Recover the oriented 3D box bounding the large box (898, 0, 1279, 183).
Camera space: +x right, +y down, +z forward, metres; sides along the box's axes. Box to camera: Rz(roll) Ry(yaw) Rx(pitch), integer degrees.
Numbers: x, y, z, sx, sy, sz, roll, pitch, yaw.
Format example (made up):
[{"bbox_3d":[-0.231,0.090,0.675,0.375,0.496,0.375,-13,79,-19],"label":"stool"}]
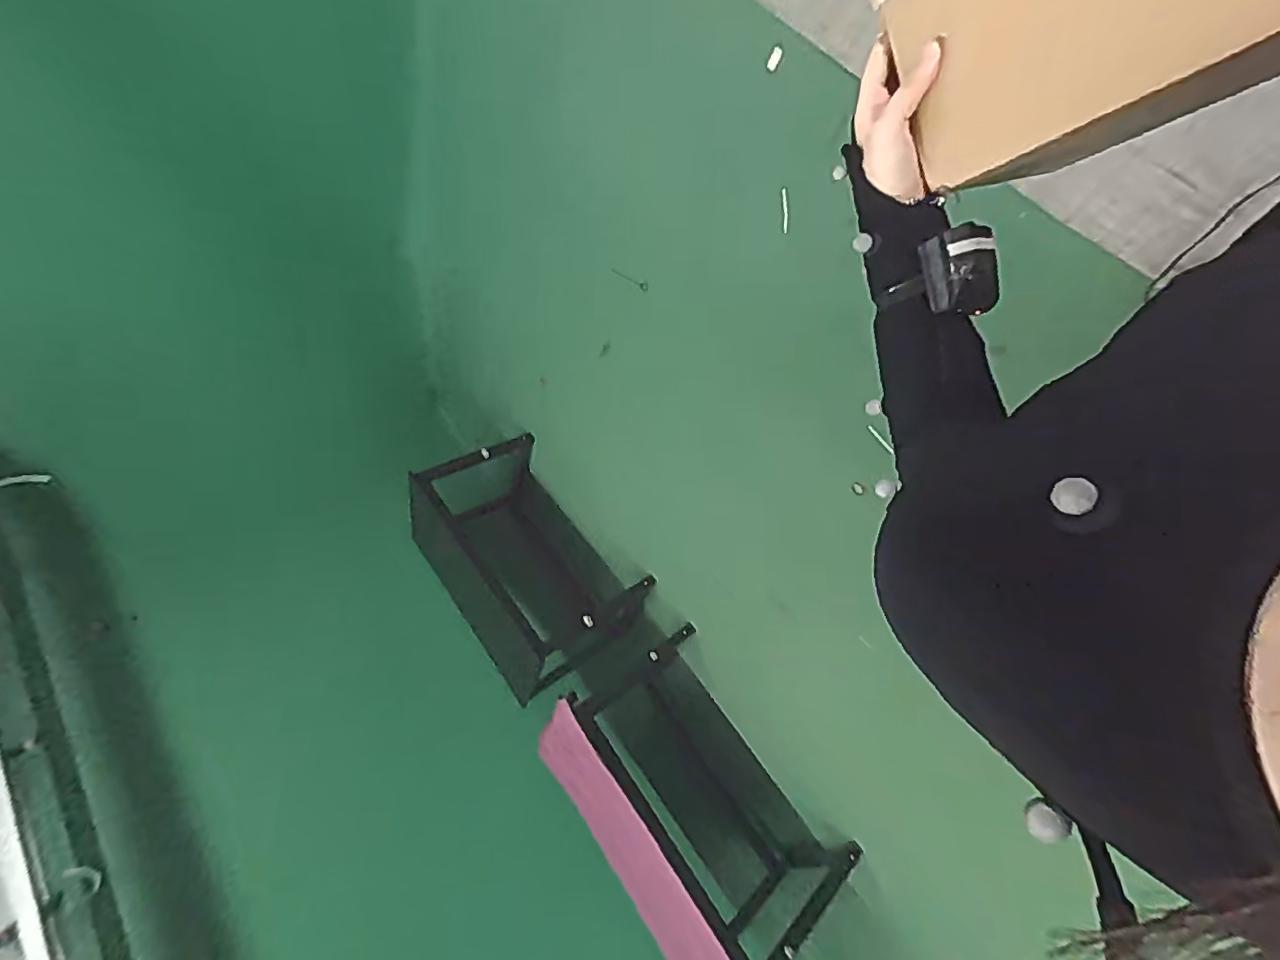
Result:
[{"bbox_3d":[0.417,-0.449,0.341,0.408,0.320,0.320,-9,105,52],"label":"large box"}]
